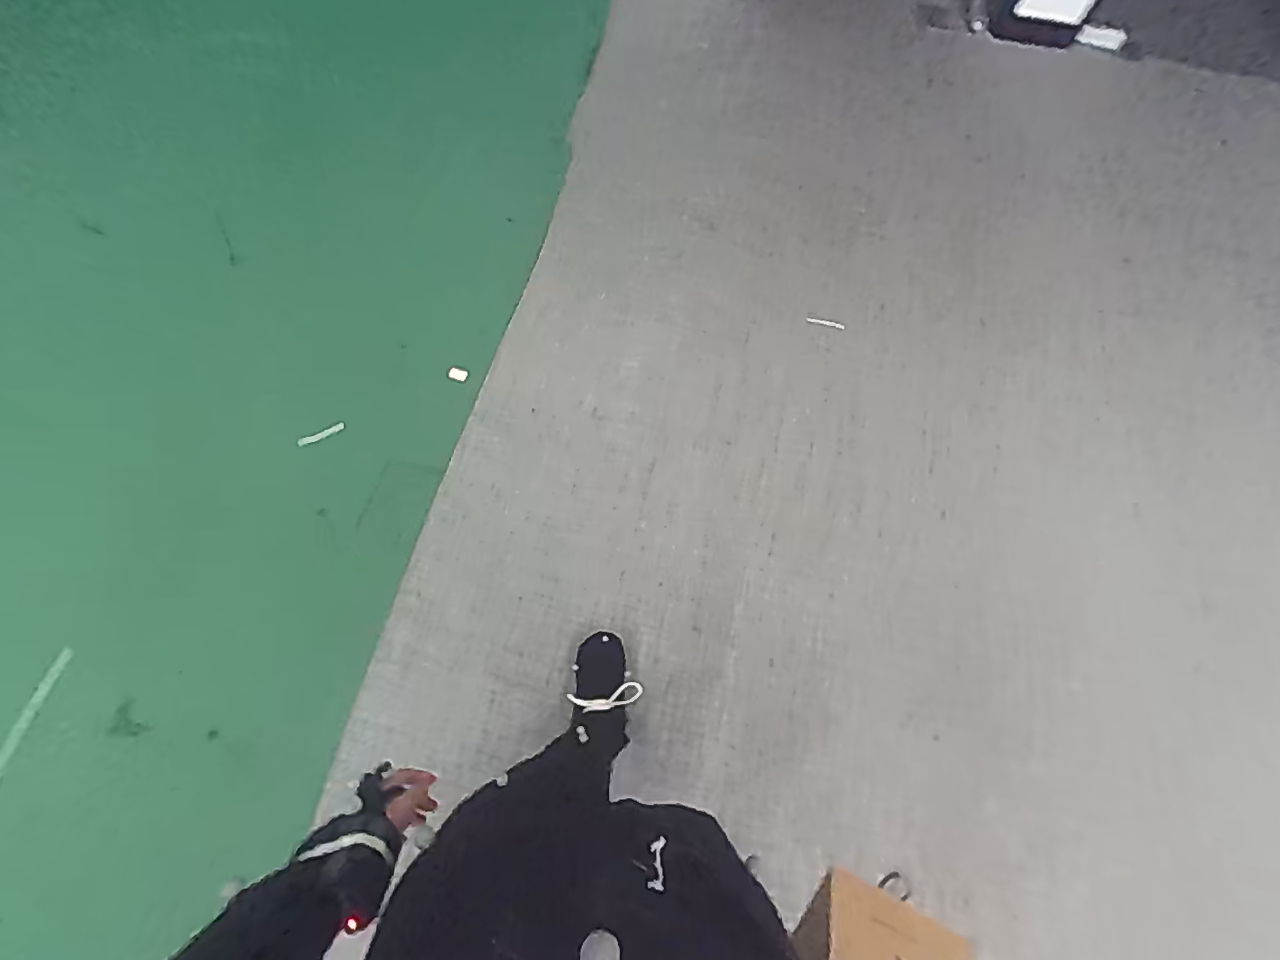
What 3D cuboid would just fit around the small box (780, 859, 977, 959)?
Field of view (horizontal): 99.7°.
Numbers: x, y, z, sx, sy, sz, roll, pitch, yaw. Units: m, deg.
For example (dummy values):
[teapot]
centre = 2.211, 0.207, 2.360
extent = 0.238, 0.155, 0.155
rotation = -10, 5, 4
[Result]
[small box]
centre = 0.252, 0.580, 0.584
extent = 0.168, 0.179, 0.176
rotation = 23, 108, 13
